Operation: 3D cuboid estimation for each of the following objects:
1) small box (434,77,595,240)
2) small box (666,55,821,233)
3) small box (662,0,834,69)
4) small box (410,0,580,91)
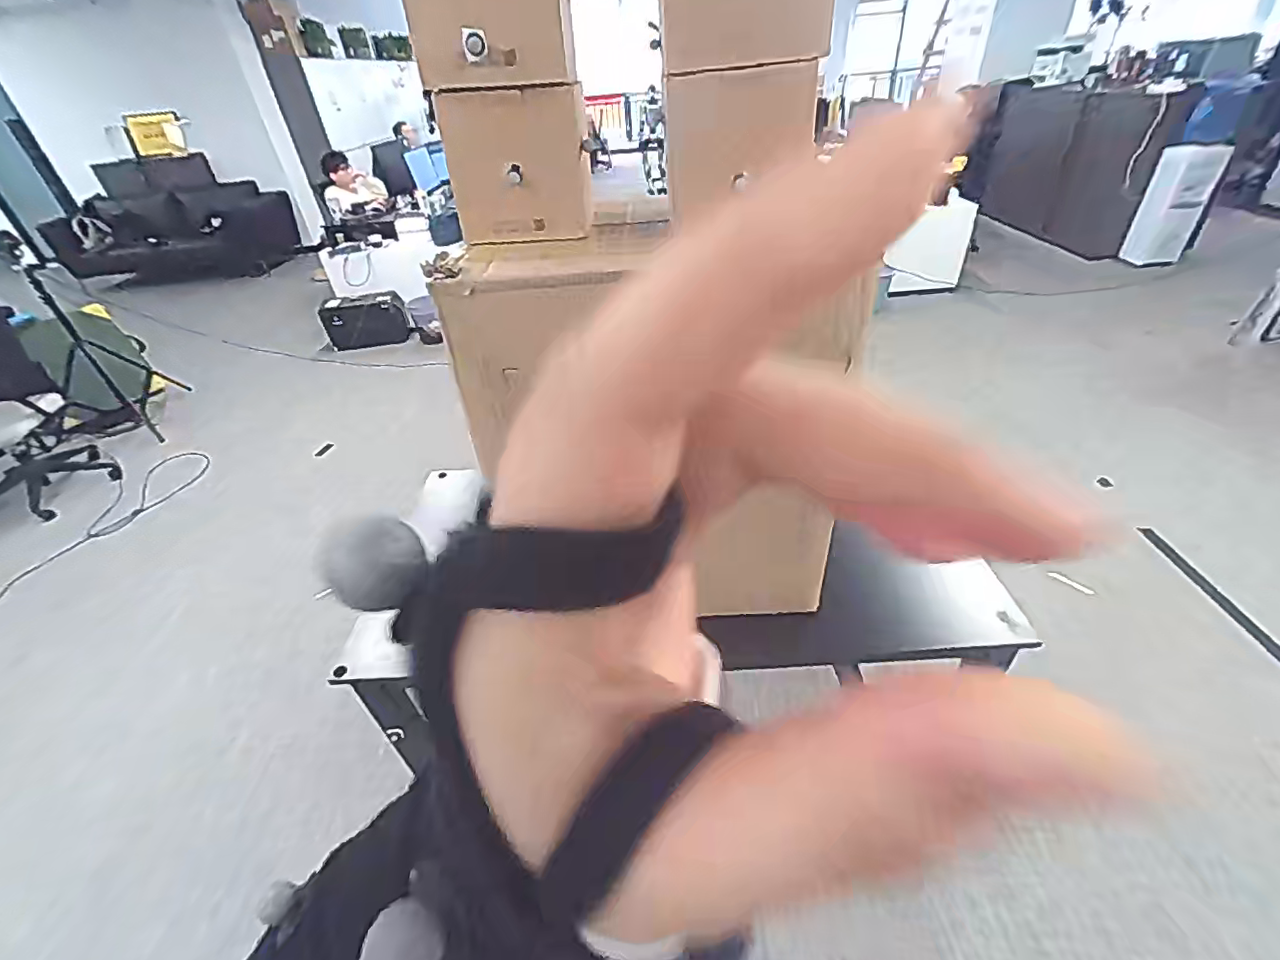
[{"bbox_3d":[-0.152,-0.430,0.729,0.168,0.176,0.179,-3,38,1],"label":"small box"},{"bbox_3d":[0.120,-0.427,0.692,0.168,0.176,0.179,-5,37,3],"label":"small box"},{"bbox_3d":[0.110,-0.554,0.588,0.179,0.176,0.168,-4,37,2],"label":"small box"},{"bbox_3d":[-0.163,-0.552,0.620,0.168,0.176,0.179,-4,37,1],"label":"small box"}]
